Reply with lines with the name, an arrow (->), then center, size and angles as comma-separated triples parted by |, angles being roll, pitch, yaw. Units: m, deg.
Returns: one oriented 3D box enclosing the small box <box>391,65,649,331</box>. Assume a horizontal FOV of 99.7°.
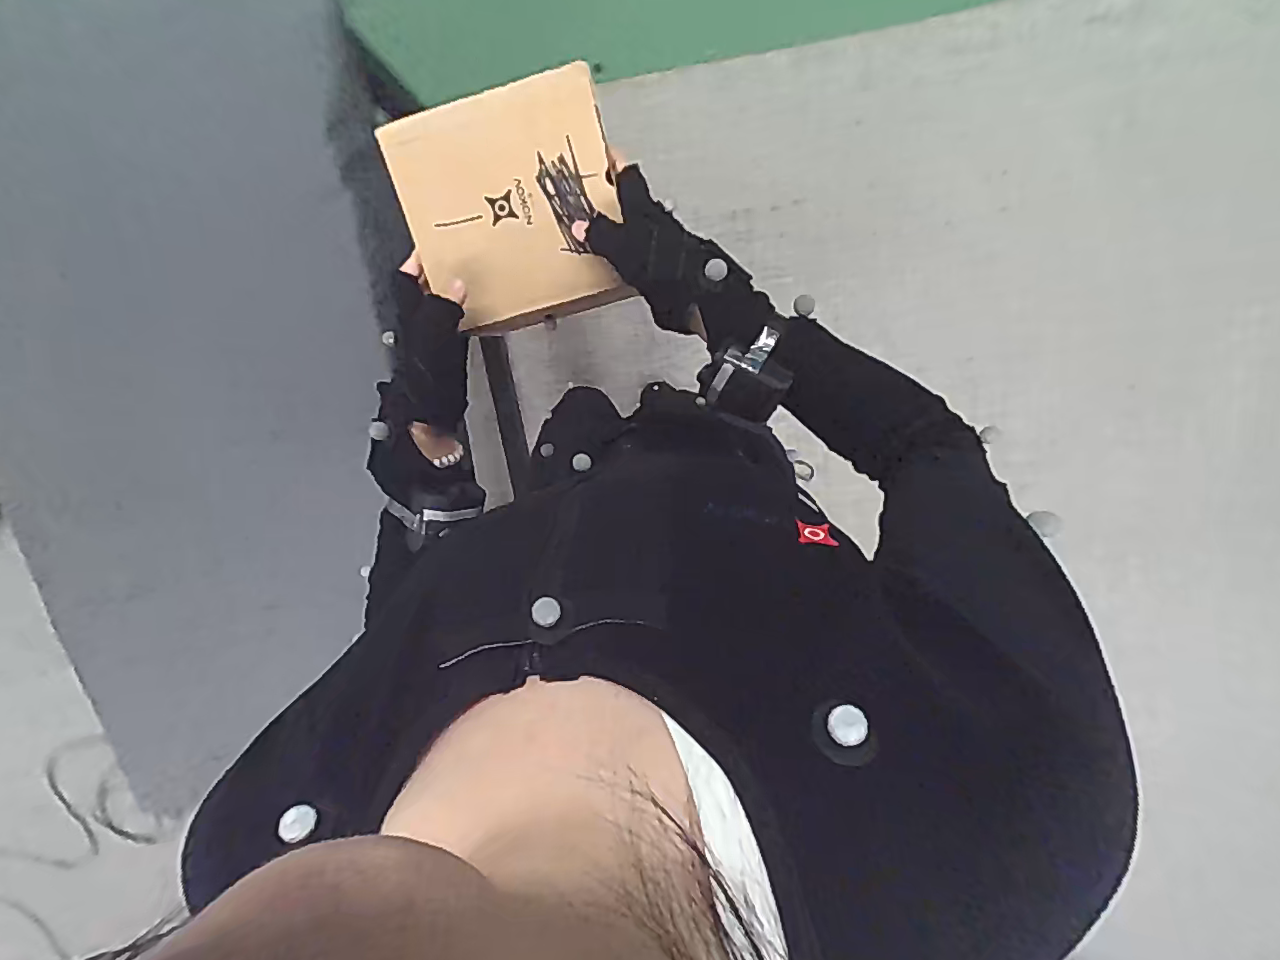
small box -> -0.094, -0.244, 0.514 | 0.179, 0.176, 0.168 | -13, 104, 4
